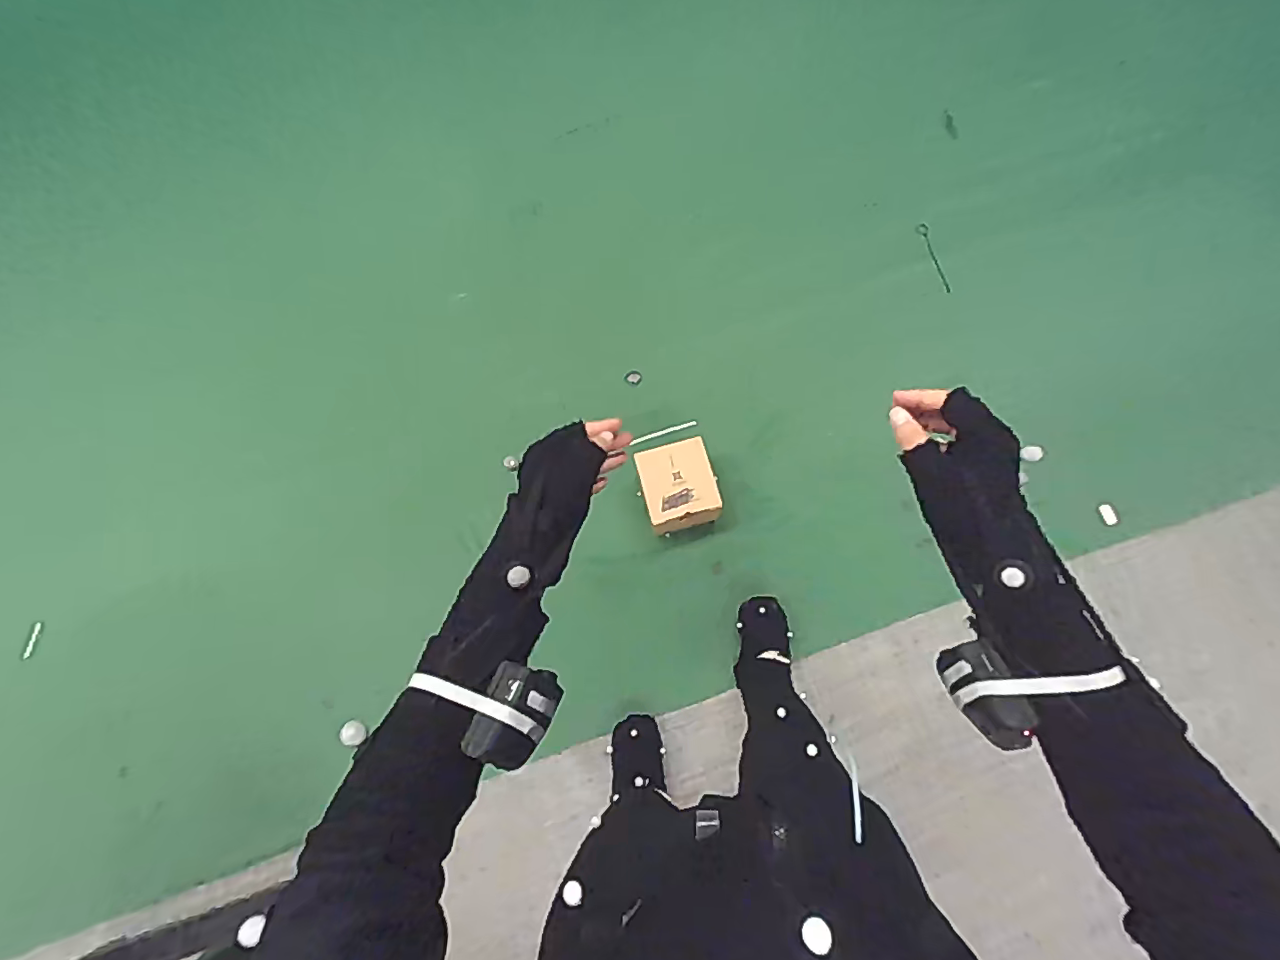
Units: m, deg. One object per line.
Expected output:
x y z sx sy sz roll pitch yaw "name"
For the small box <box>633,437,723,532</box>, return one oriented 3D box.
0.089 0.021 1.306 0.168 0.176 0.179 -18 77 -2 "small box"
